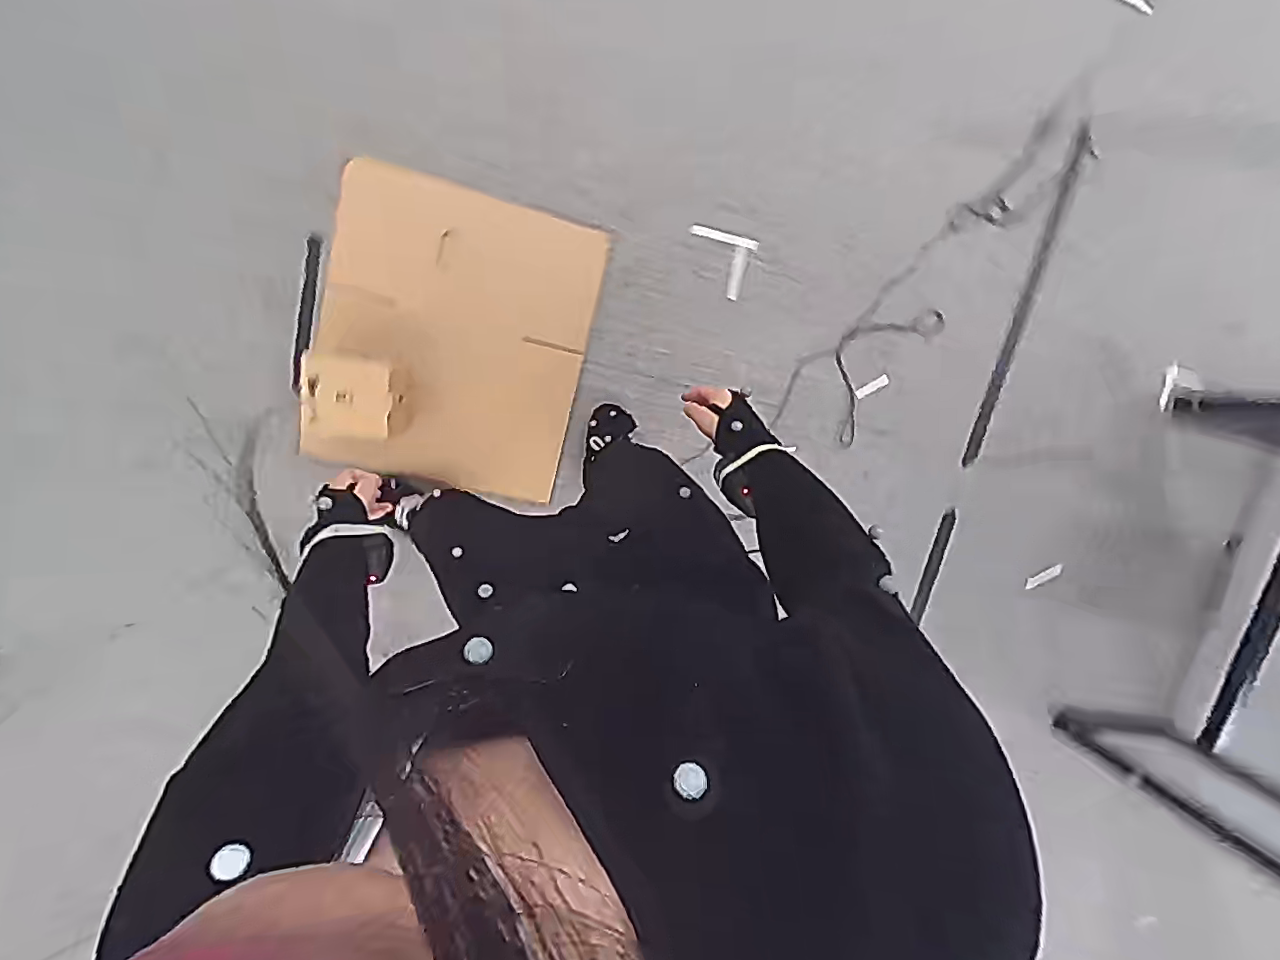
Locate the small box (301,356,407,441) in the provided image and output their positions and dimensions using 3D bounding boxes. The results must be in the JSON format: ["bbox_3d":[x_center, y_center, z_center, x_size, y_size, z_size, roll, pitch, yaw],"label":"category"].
[{"bbox_3d":[-0.632,-0.186,1.214,0.179,0.176,0.168,4,100,-12],"label":"small box"}]
